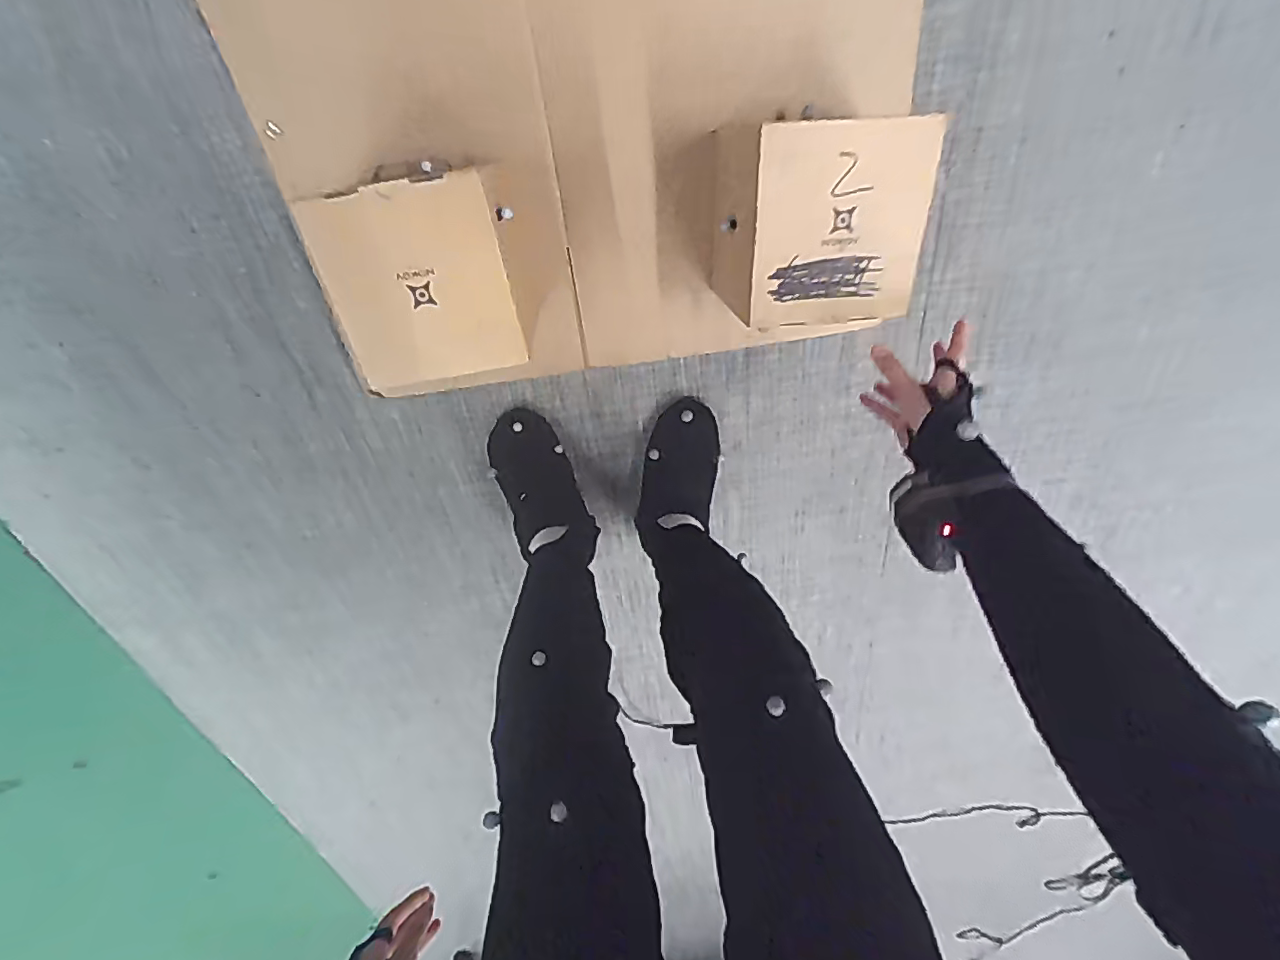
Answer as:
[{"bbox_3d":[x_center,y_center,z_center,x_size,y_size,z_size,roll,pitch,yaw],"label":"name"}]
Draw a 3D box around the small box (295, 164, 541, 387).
[{"bbox_3d":[-0.206,-0.219,0.567,0.168,0.176,0.179,-10,121,0],"label":"small box"}]
